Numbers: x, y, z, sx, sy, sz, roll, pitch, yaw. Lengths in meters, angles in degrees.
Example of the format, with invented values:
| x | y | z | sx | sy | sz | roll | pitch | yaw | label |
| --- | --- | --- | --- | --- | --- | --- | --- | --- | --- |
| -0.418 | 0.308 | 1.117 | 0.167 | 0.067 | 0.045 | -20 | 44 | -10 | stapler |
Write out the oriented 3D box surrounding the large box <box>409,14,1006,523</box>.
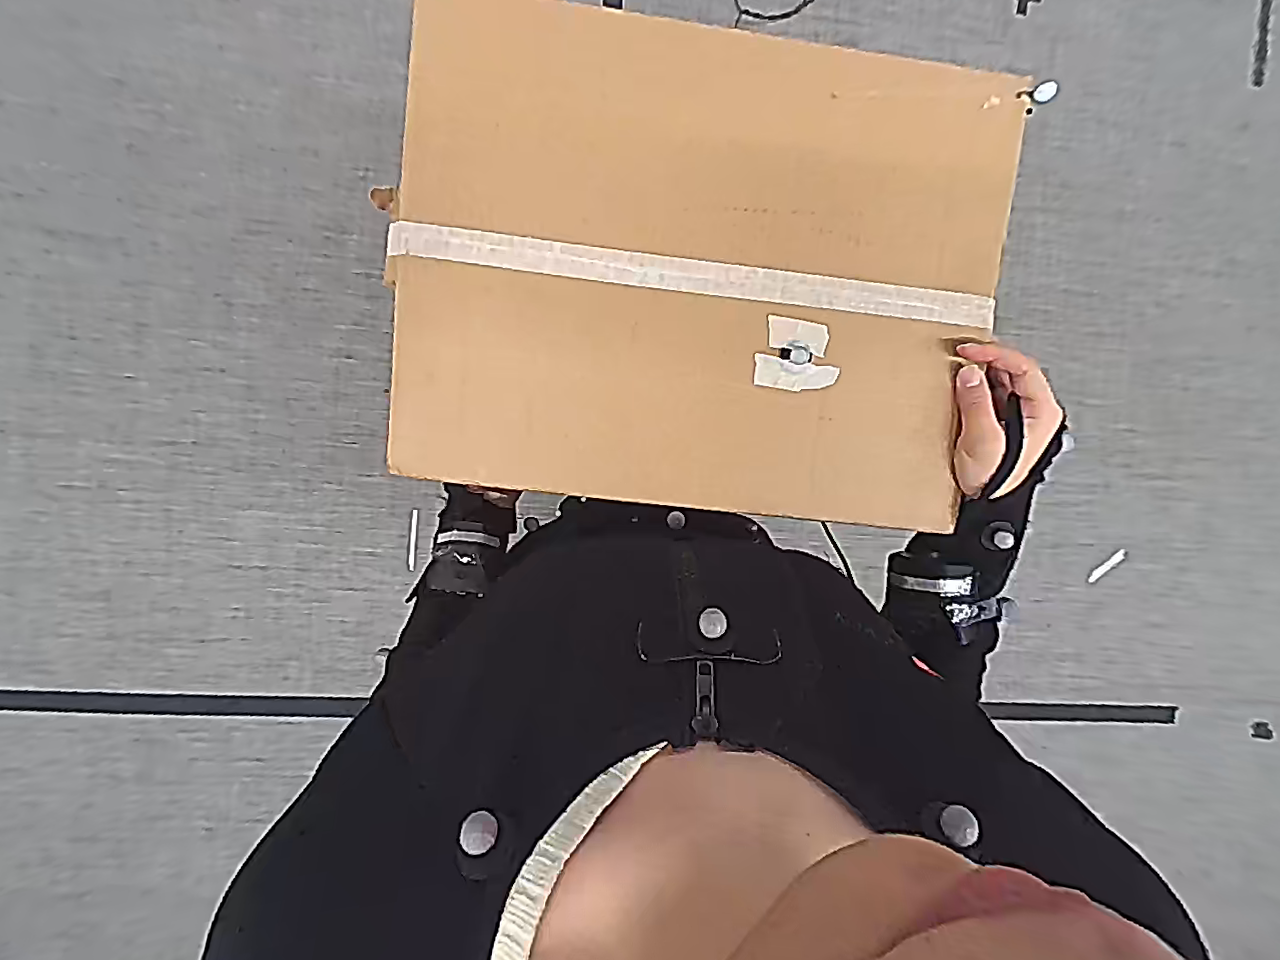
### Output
| x | y | z | sx | sy | sz | roll | pitch | yaw | label |
| --- | --- | --- | --- | --- | --- | --- | --- | --- | --- |
| 0.035 | -0.148 | 0.523 | 0.408 | 0.320 | 0.320 | 5 | 97 | -5 | large box |
